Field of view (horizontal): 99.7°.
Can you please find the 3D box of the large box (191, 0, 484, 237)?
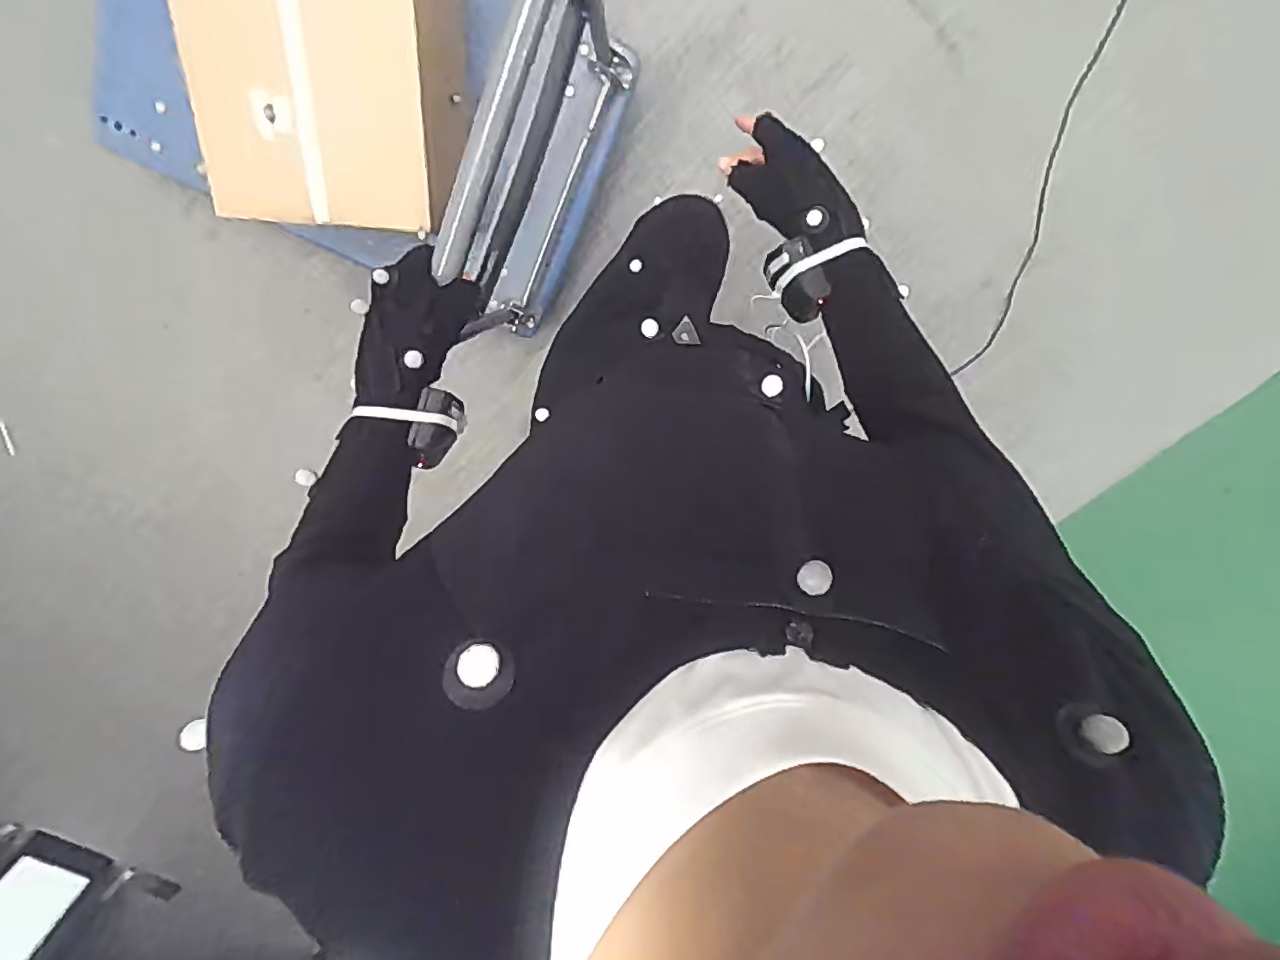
[{"bbox_3d":[-0.453,-0.629,0.889,0.320,0.320,0.408,2,115,-3],"label":"large box"}]
